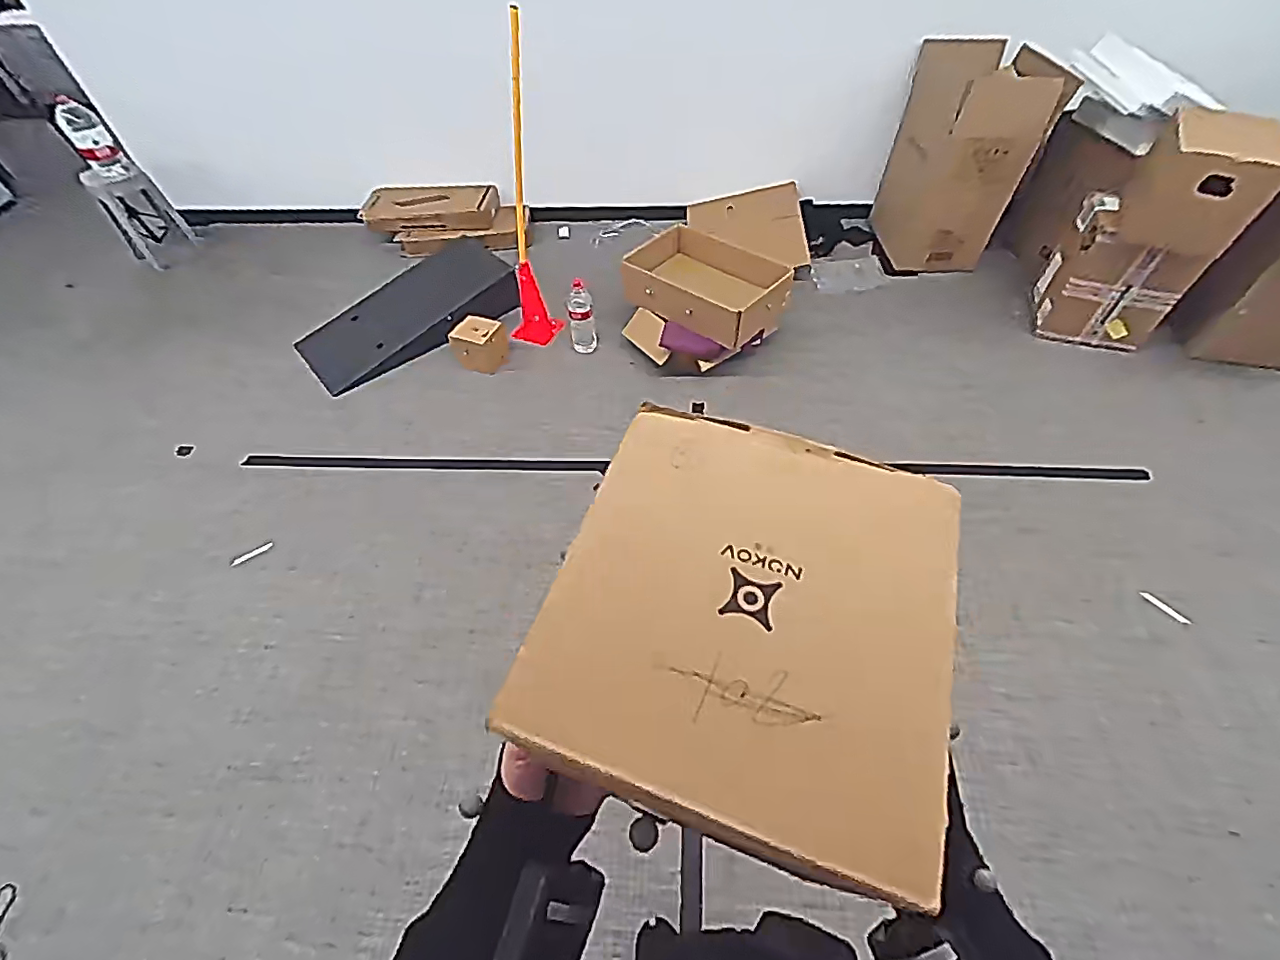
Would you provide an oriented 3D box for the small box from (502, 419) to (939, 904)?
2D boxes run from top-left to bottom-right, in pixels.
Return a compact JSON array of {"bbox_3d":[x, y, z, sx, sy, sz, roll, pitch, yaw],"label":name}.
[{"bbox_3d":[0.046,0.099,0.310,0.168,0.176,0.179,16,58,10],"label":"small box"}]
